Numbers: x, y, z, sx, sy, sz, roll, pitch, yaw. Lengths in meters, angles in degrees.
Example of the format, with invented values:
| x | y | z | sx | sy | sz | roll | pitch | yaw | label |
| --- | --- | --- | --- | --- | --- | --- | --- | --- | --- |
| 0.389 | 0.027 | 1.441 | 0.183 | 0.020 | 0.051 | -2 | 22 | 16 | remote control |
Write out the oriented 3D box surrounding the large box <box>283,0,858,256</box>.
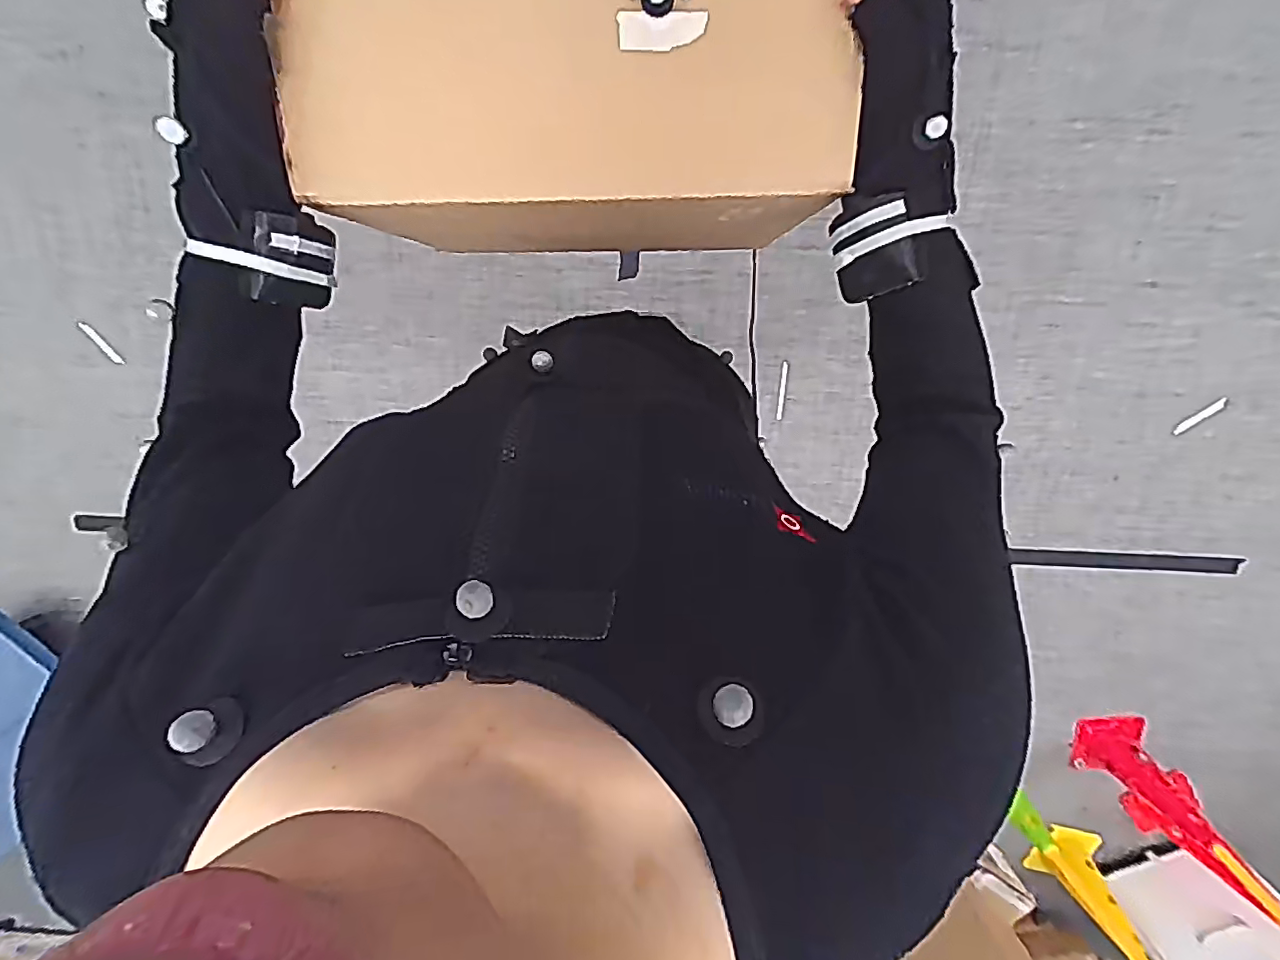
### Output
| x | y | z | sx | sy | sz | roll | pitch | yaw | label |
| --- | --- | --- | --- | --- | --- | --- | --- | --- | --- |
| -0.048 | -0.401 | 0.506 | 0.408 | 0.320 | 0.320 | -1 | 106 | 1 | large box |
